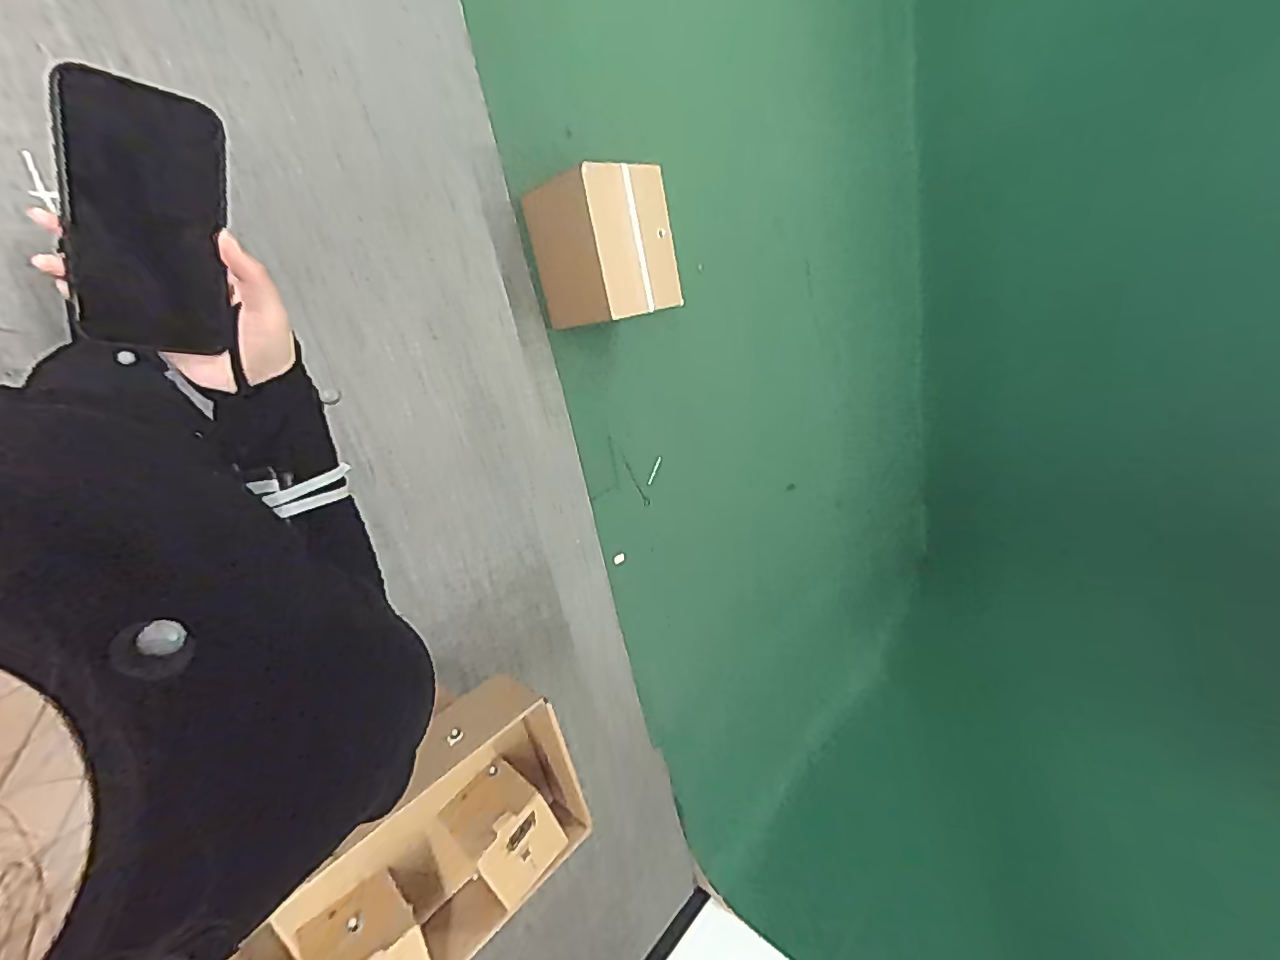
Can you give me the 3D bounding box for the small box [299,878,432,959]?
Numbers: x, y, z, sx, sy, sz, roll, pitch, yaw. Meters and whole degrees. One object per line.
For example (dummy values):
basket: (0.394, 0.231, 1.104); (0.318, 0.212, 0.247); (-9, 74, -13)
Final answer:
small box: (-0.491, 0.873, 0.978); (0.168, 0.176, 0.179); (-20, 108, -40)
